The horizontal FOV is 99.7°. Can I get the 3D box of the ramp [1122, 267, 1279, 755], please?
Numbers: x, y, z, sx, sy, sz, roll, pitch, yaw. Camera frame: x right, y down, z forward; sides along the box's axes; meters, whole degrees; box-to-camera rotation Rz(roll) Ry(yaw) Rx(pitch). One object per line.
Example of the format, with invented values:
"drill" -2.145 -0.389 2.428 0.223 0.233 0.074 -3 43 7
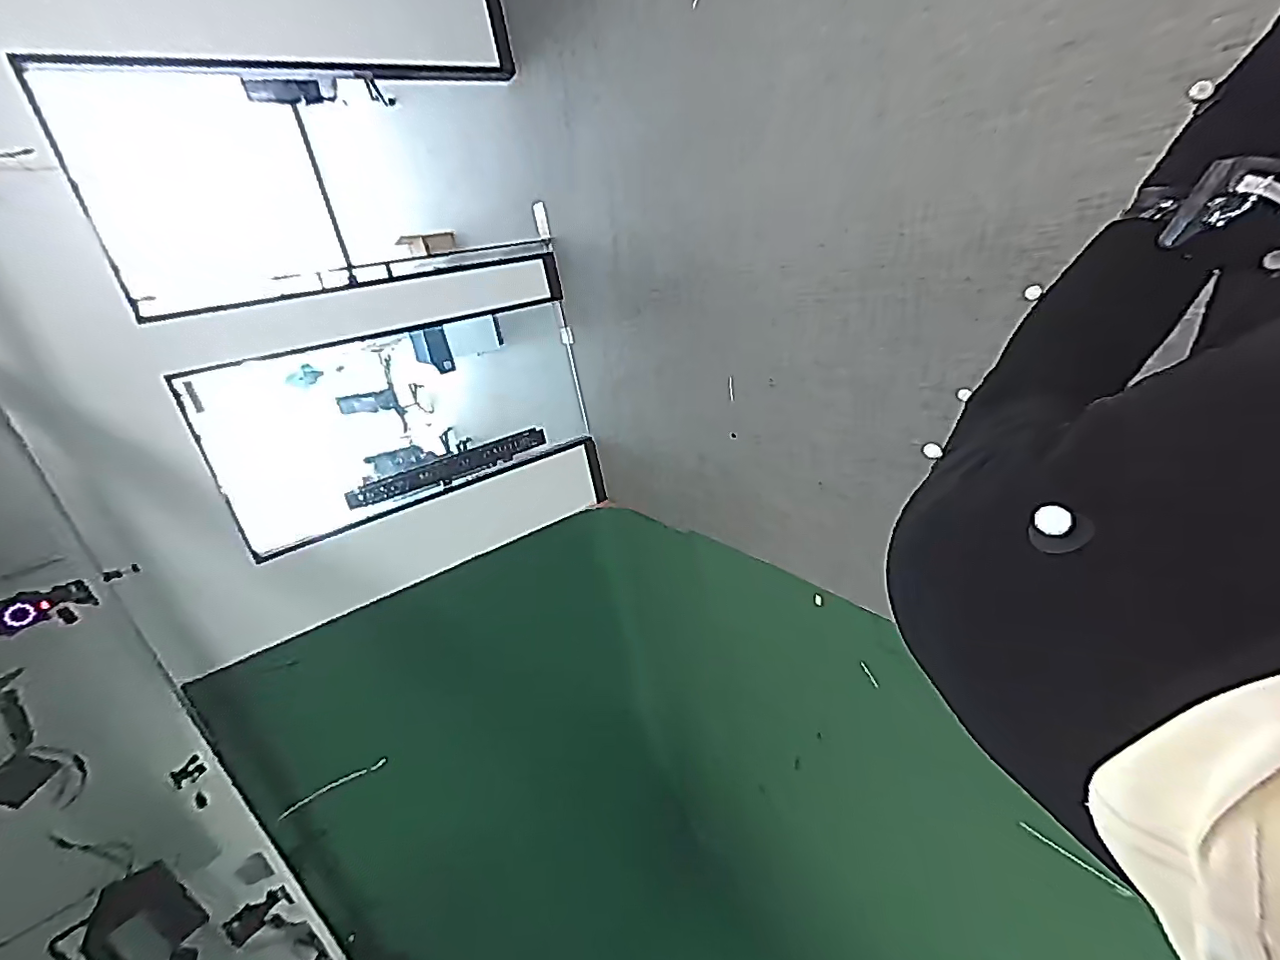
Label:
"ramp" 1.341 0.099 1.047 0.509 0.206 0.991 18 124 55
